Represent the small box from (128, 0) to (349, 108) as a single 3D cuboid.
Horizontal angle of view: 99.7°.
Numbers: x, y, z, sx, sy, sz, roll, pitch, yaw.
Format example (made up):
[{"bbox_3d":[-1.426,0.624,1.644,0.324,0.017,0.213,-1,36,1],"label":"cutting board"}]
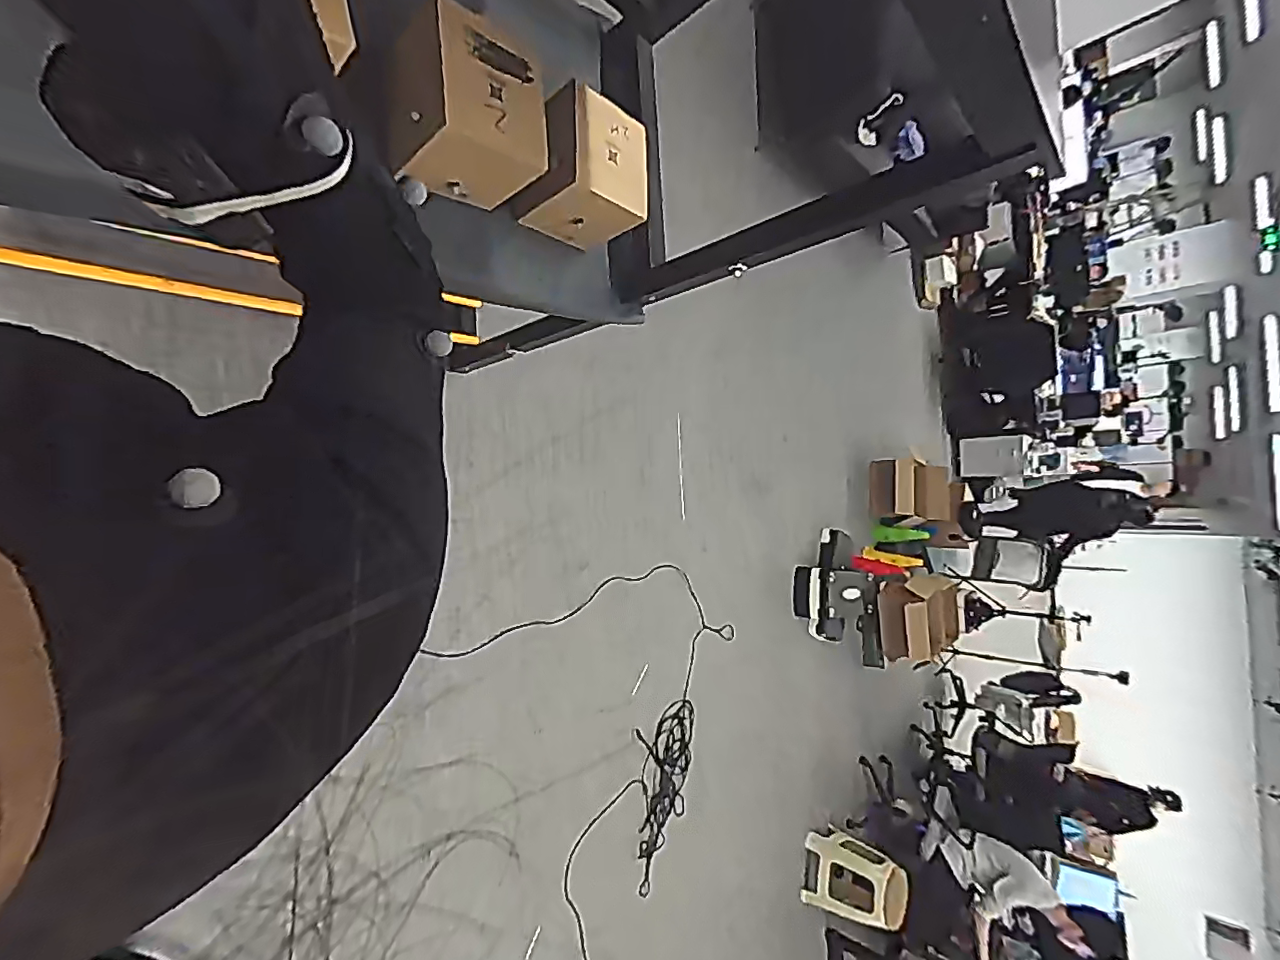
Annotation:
[{"bbox_3d":[-0.454,-0.559,0.599,0.168,0.176,0.179,-18,101,-46],"label":"small box"}]
